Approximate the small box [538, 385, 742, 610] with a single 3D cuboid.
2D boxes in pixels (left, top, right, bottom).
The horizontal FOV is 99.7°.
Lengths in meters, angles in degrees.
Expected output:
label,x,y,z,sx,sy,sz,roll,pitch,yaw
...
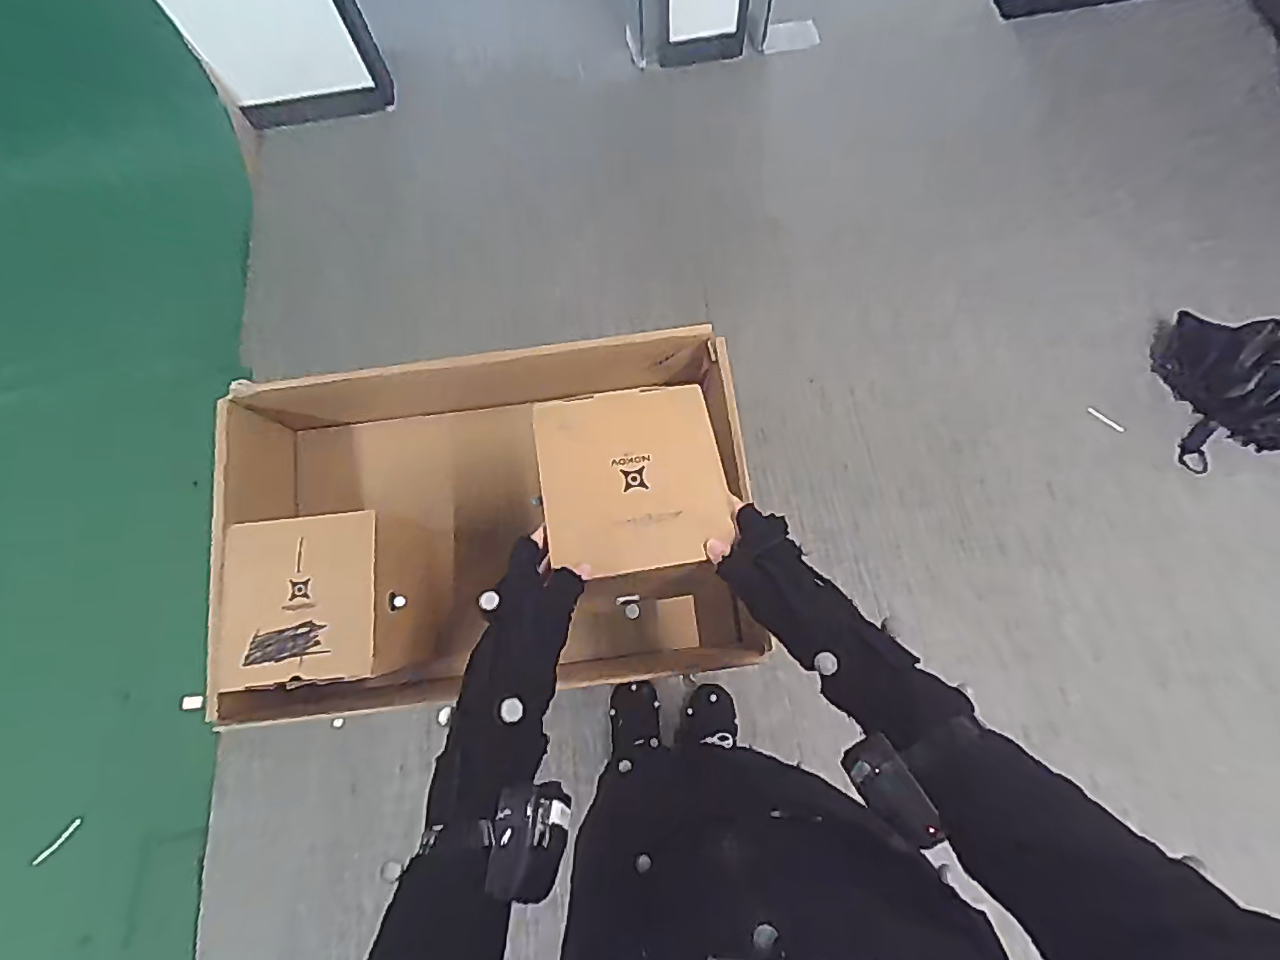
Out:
label,x,y,z,sx,sy,sz,roll,pitch,yaw
small box,-0.010,0.025,0.567,0.168,0.176,0.179,-9,69,-7
